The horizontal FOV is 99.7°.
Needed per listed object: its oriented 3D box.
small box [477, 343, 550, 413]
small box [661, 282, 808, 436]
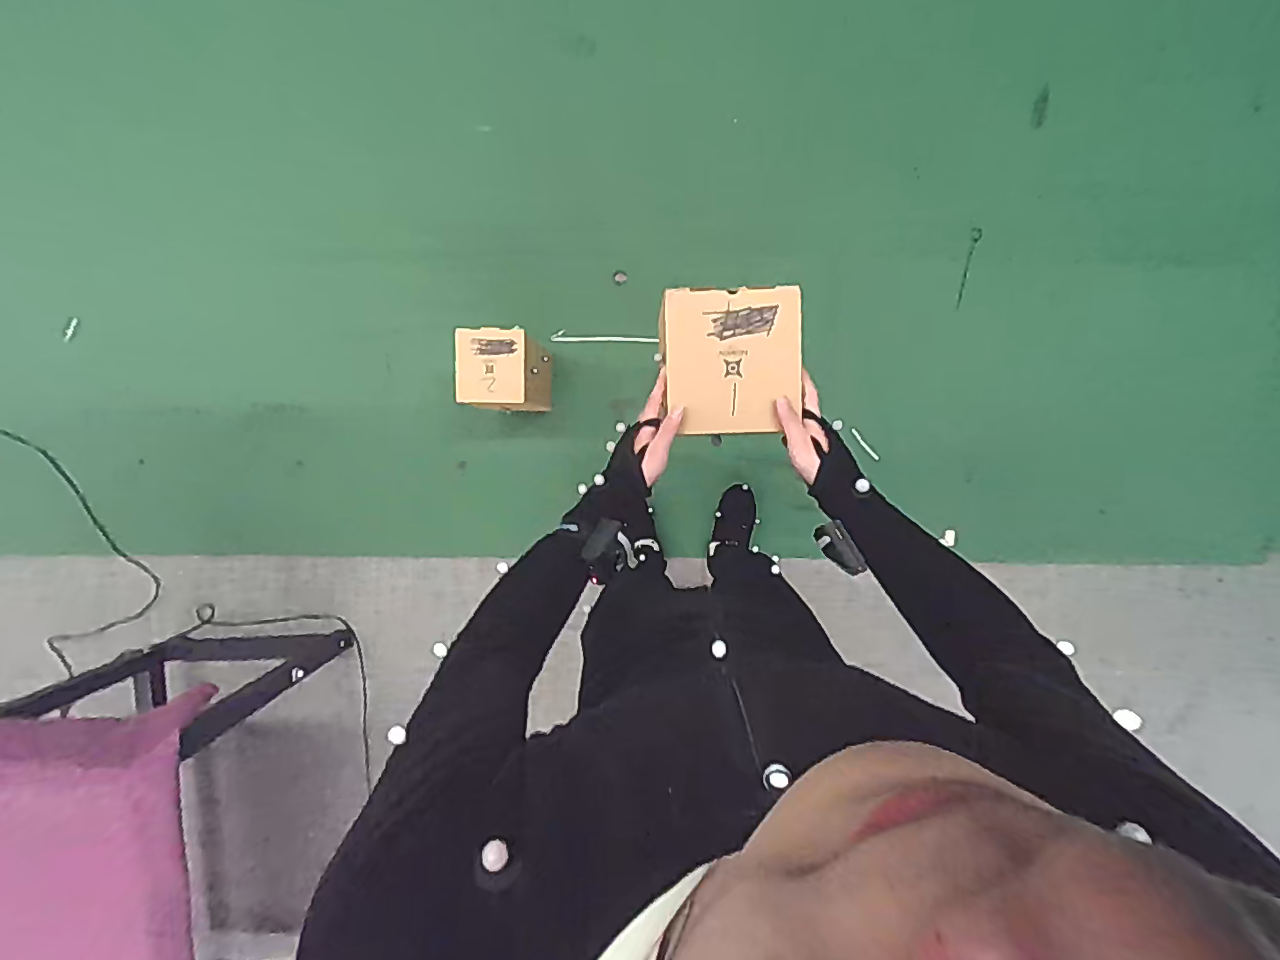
[{"bbox_3d":[-0.346,-0.277,1.503,0.168,0.176,0.179,0,93,2],"label":"small box"},{"bbox_3d":[0.114,-0.149,0.717,0.168,0.176,0.179,-1,94,-1],"label":"small box"}]
